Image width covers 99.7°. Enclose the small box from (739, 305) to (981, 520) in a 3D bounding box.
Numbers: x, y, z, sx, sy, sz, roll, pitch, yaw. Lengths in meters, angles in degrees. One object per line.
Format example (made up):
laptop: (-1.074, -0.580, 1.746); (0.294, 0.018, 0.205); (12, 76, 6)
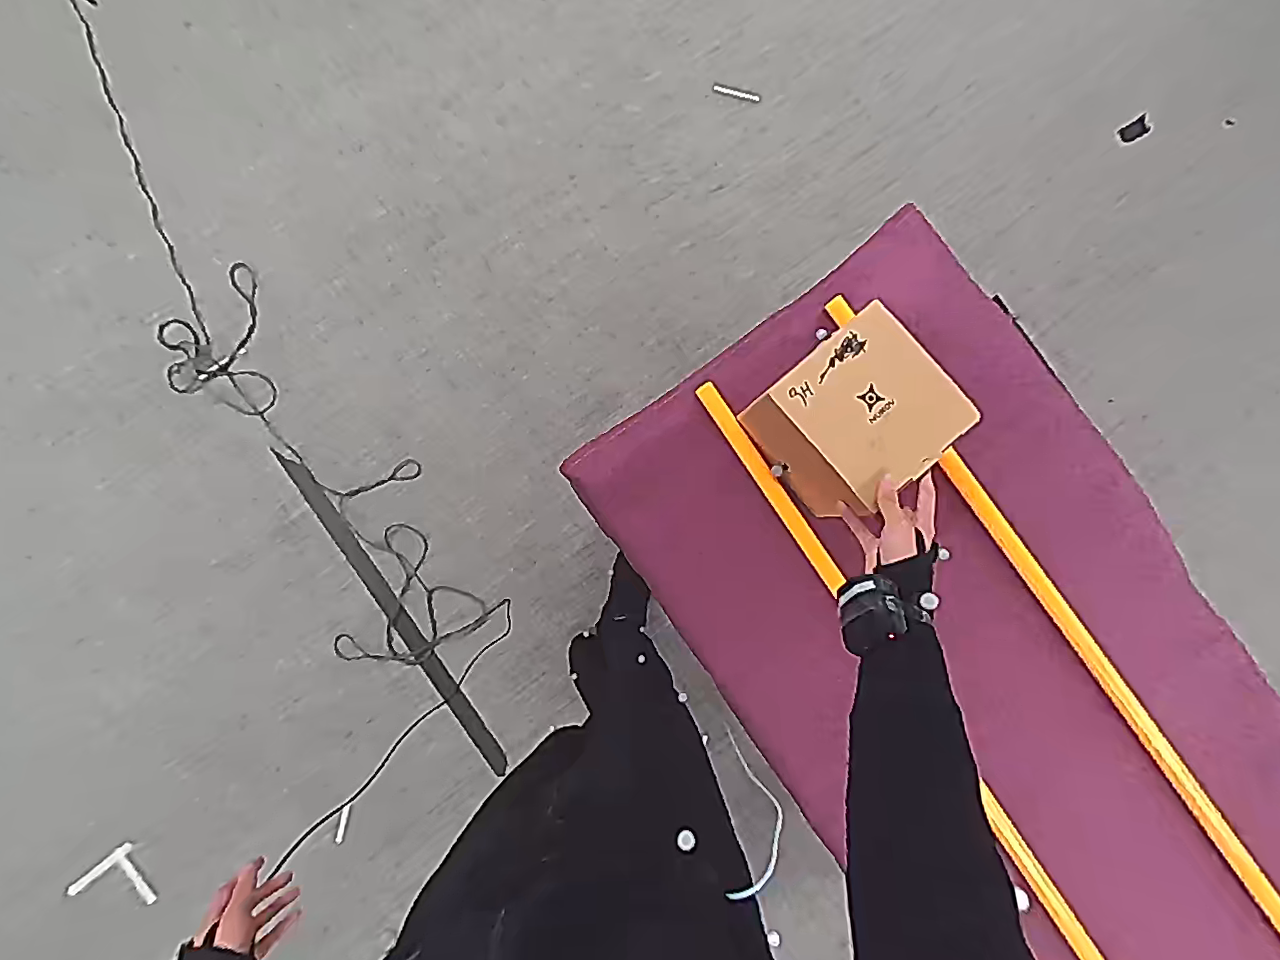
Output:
small box: (0.248, -0.071, 0.655); (0.168, 0.176, 0.179); (-40, 89, -5)
